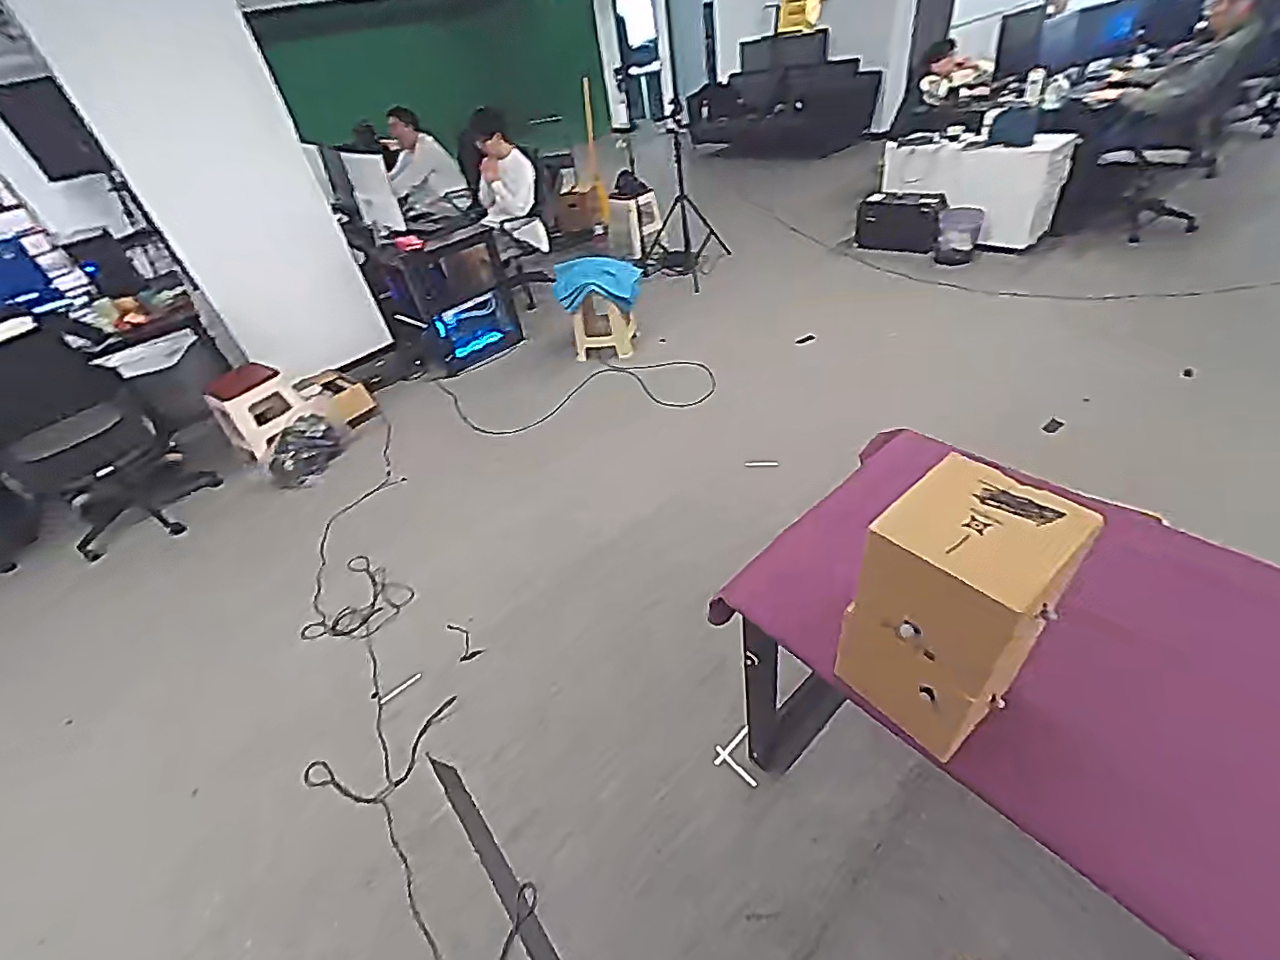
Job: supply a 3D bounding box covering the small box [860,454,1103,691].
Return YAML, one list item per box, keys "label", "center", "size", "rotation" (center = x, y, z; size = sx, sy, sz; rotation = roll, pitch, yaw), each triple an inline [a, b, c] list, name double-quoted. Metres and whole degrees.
- label: "small box"
  center: [0.382, 0.105, 0.638]
  size: [0.179, 0.176, 0.168]
  rotation: [-33, 45, -22]

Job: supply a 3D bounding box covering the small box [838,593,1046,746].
- label: "small box"
  center: [0.398, 0.231, 0.742]
  size: [0.168, 0.176, 0.179]
  rotation: [-31, 44, -22]
